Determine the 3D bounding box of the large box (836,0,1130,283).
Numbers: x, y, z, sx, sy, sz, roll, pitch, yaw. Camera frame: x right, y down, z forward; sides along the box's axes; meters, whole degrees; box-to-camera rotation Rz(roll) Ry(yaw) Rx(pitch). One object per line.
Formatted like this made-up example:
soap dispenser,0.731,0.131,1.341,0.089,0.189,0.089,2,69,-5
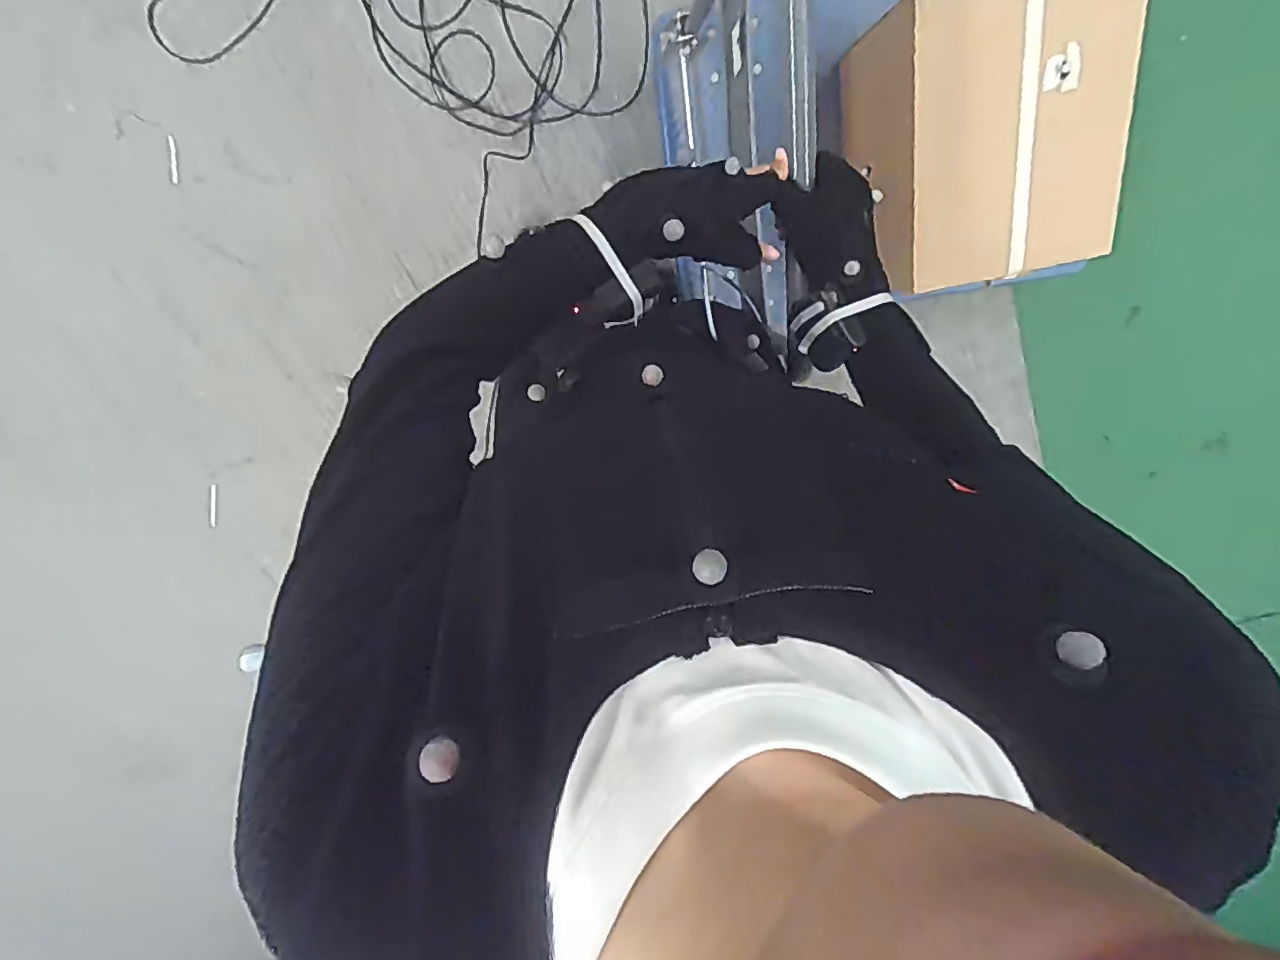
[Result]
large box,0.550,-0.588,0.938,0.320,0.320,0.408,-11,113,4
